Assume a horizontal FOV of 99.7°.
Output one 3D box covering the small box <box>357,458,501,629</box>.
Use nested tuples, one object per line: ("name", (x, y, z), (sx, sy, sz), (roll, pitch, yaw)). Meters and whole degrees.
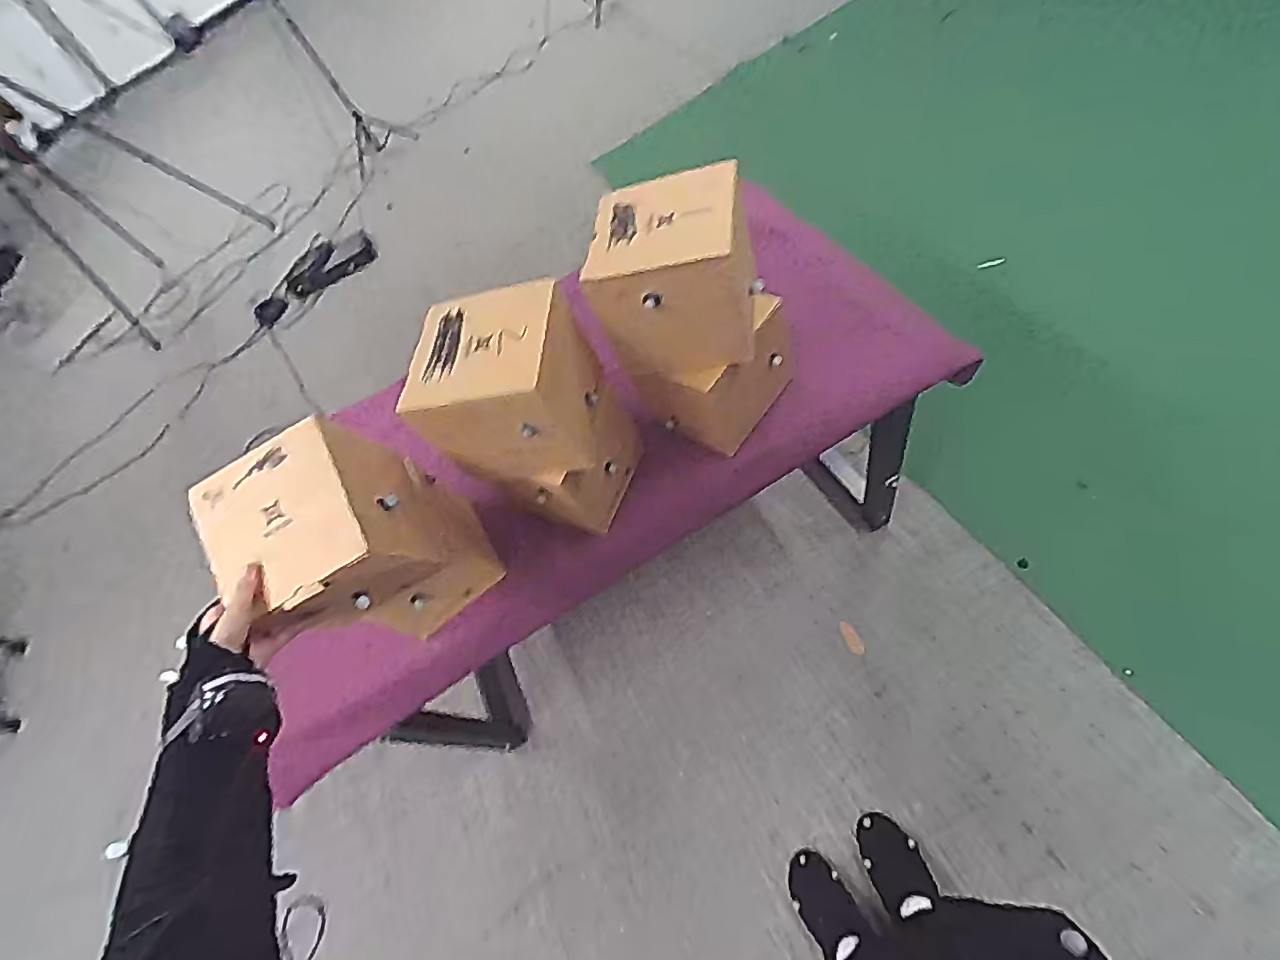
("small box", (-0.341, 0.106, 0.820), (0.168, 0.176, 0.179), (-38, 56, -4))

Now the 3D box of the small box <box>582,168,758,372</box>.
("small box", (0.049, -0.255, 0.692), (0.179, 0.176, 0.168), (-3, 59, 19))

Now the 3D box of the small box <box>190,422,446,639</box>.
("small box", (-0.359, 0.062, 0.634), (0.168, 0.176, 0.179), (-29, 77, 2))

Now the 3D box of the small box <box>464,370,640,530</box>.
("small box", (-0.121, -0.041, 0.824), (0.179, 0.176, 0.168), (14, 67, 26))

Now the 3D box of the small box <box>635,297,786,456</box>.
("small box", (0.106, -0.169, 0.820), (0.168, 0.176, 0.179), (31, 76, 32))
